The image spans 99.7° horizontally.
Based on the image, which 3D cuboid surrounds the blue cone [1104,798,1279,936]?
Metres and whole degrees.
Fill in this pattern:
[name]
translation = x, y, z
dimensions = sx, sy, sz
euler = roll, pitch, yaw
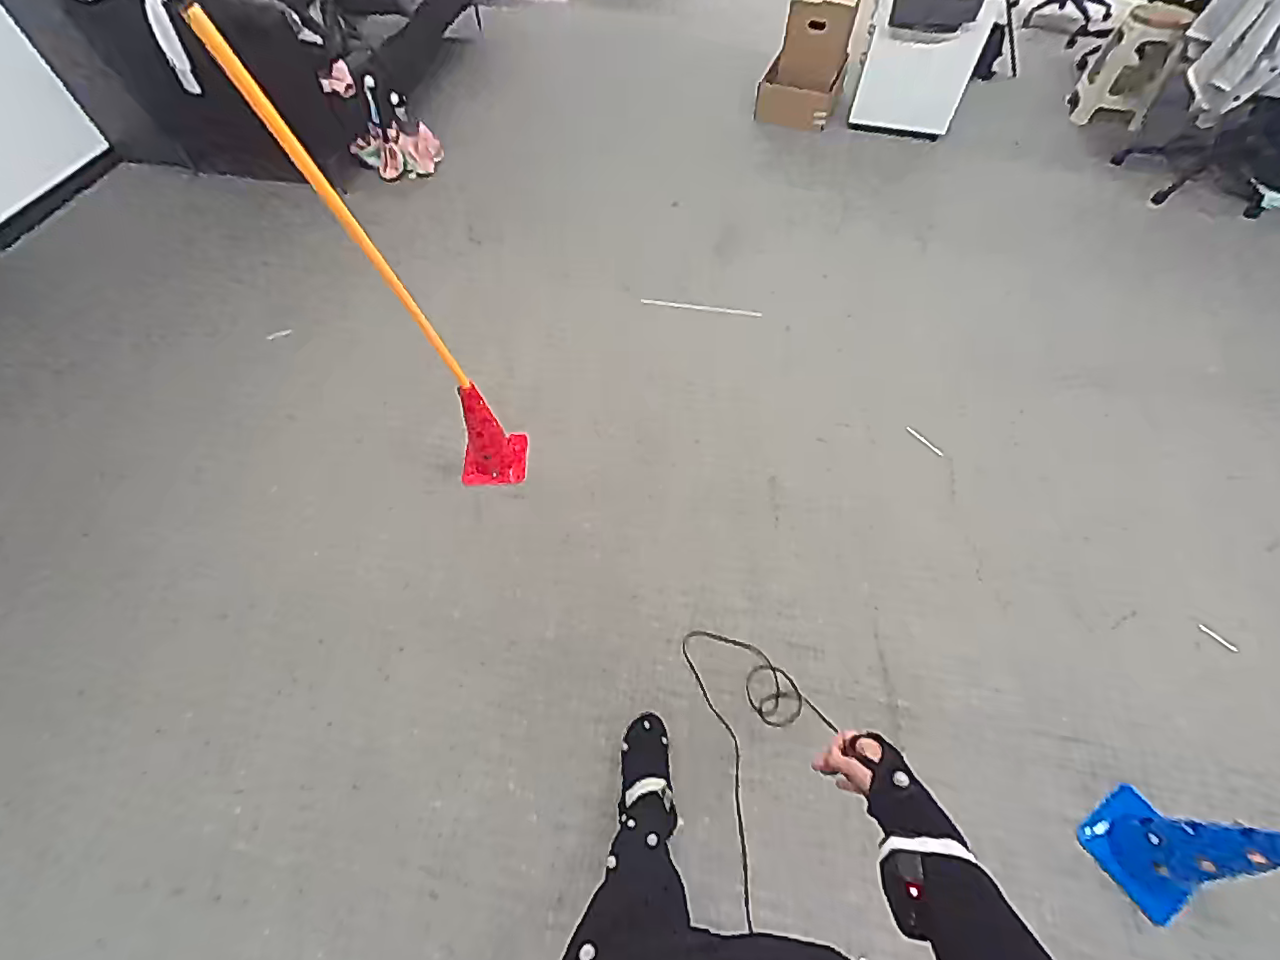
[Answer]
[blue cone]
translation = 1.105, 0.711, 1.009
dimensions = 0.193, 0.380, 0.192
euler = -29, 60, -19
